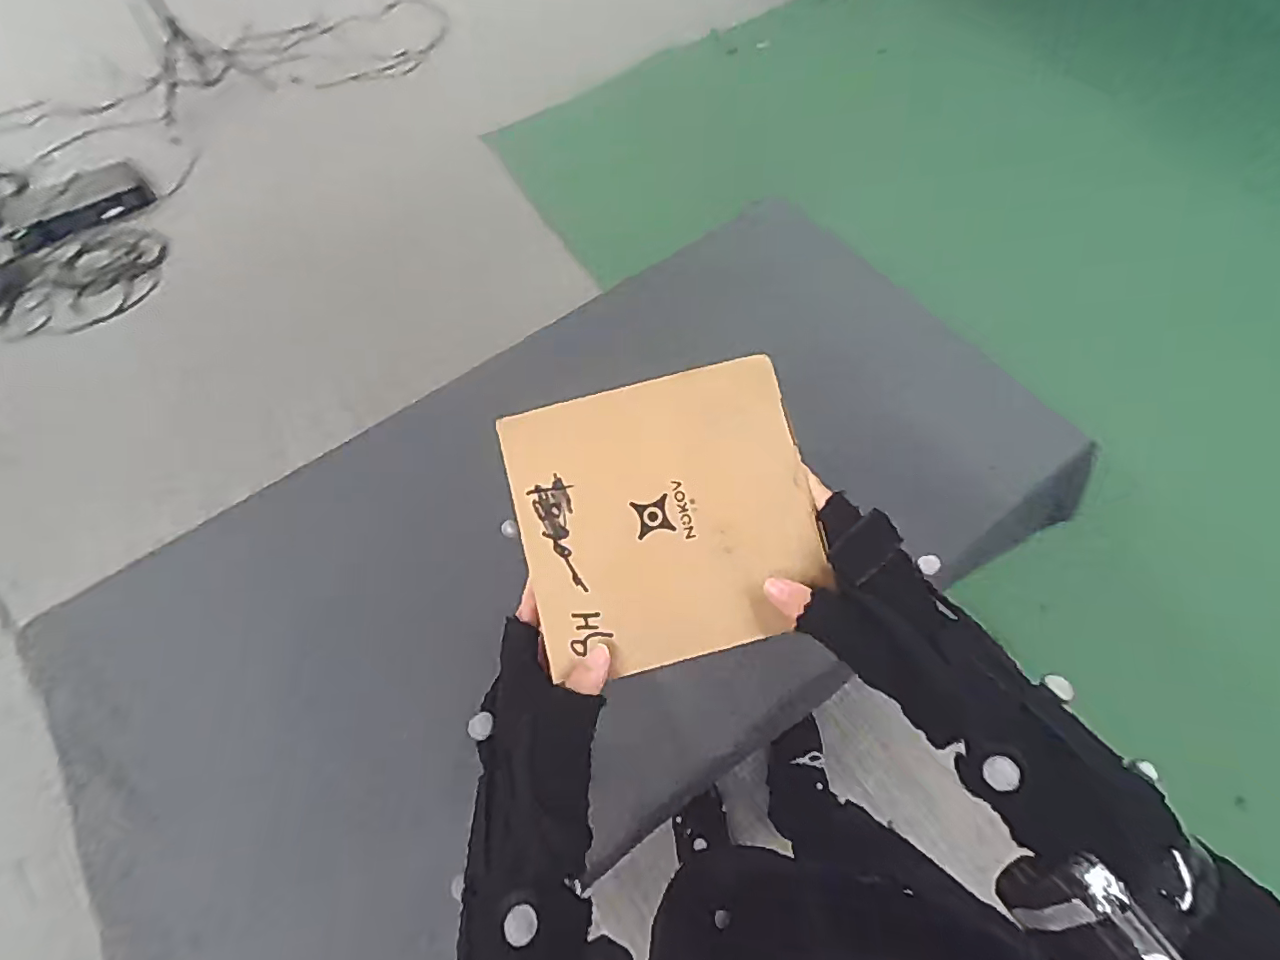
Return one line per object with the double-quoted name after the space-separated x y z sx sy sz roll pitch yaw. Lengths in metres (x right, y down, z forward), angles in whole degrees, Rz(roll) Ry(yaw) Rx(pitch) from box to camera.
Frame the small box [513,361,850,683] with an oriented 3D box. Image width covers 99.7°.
0.021 0.033 0.401 0.179 0.176 0.168 -13 80 -2 "small box"
